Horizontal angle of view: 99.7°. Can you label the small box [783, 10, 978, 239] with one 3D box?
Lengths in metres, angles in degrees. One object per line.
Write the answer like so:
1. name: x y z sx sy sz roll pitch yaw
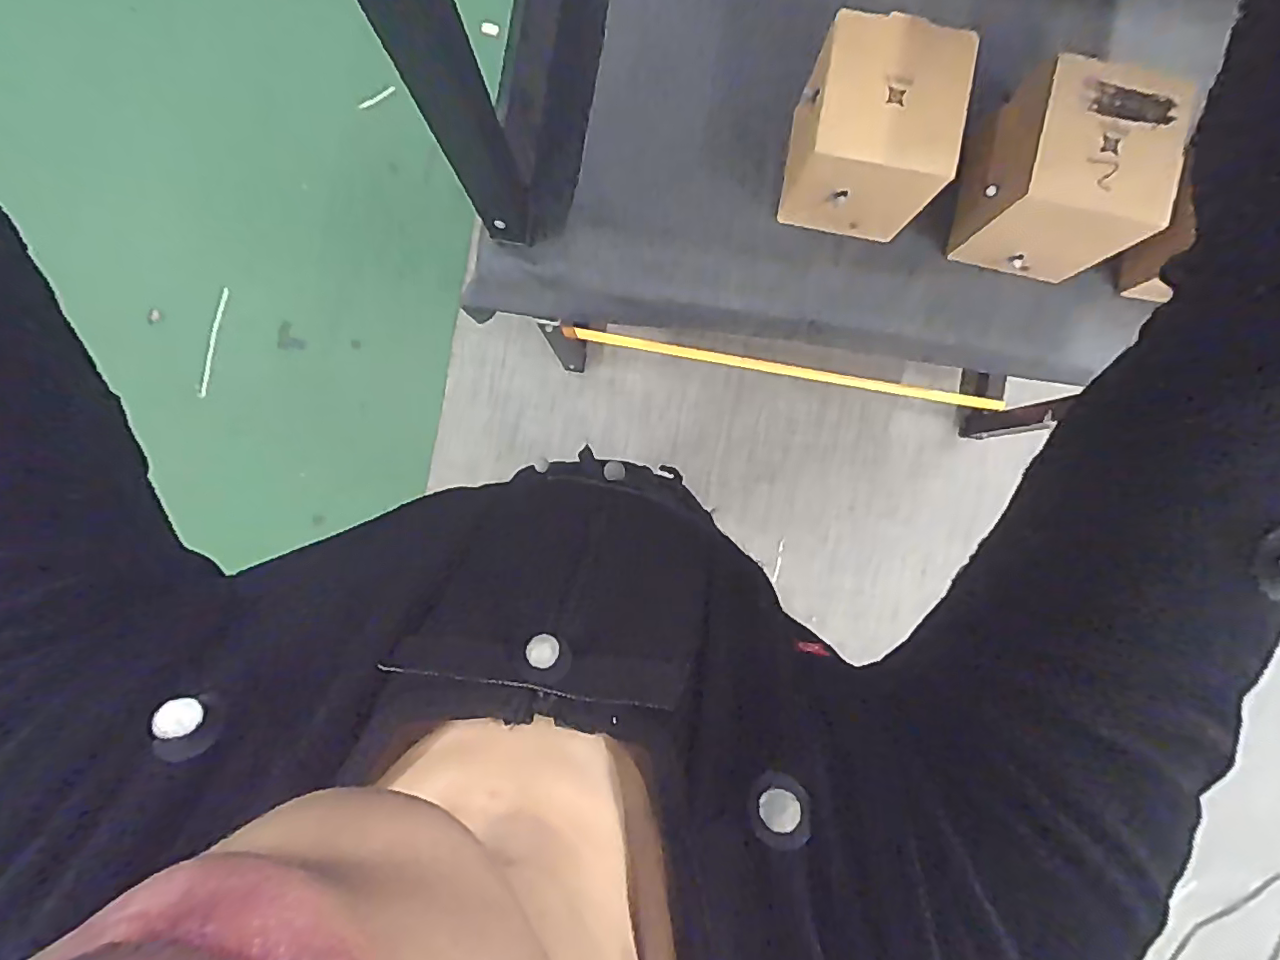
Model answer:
1. small box: 0.295 -0.442 0.702 0.168 0.176 0.179 10 88 0
